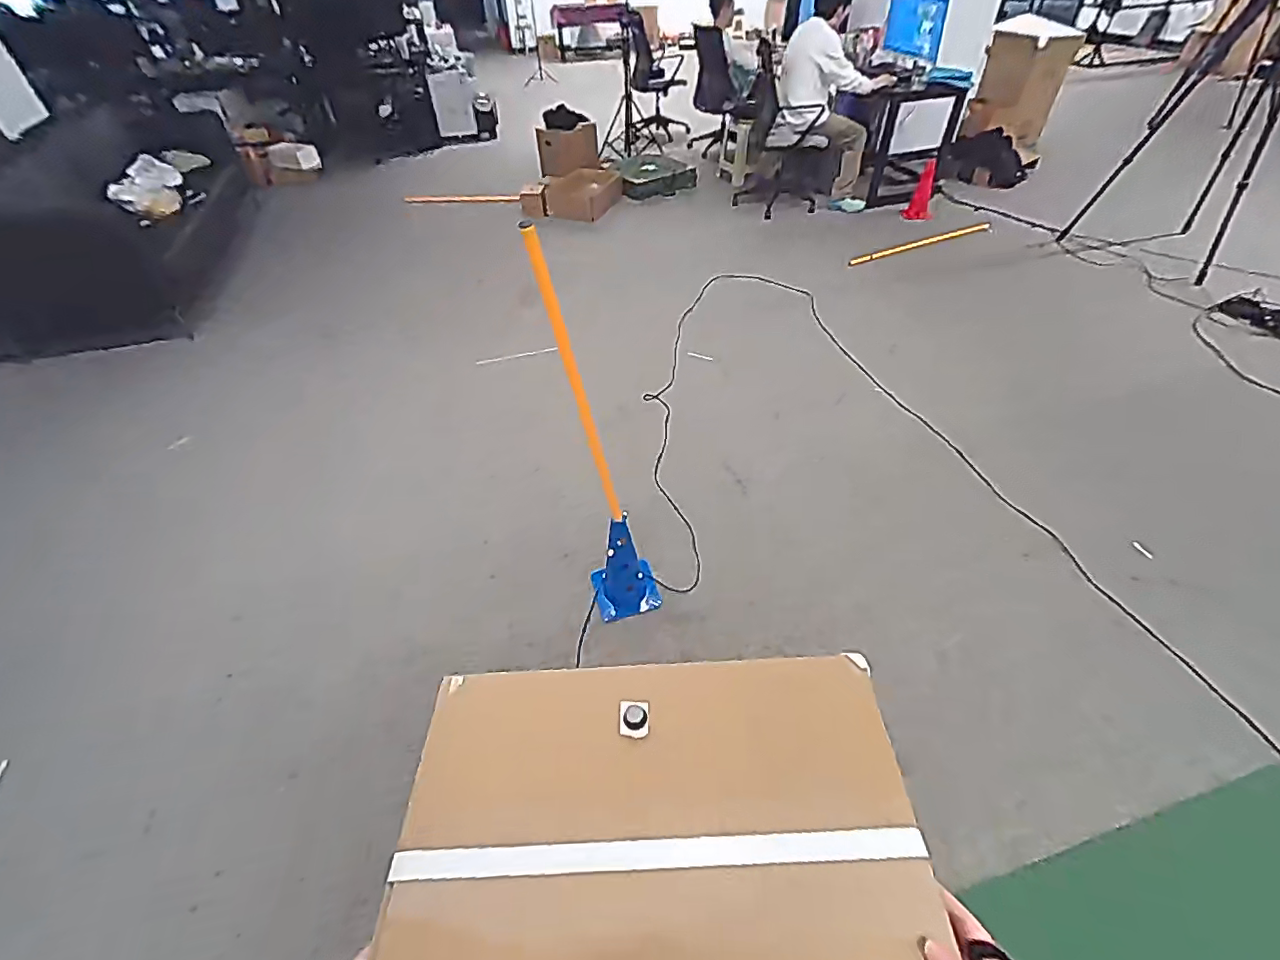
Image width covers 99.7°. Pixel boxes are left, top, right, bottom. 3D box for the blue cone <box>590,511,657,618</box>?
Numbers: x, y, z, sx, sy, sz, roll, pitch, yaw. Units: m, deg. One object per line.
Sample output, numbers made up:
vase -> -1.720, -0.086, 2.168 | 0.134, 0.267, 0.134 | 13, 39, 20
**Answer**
blue cone -> -0.061, 0.237, 1.639 | 0.193, 0.380, 0.192 | -16, 46, -11
